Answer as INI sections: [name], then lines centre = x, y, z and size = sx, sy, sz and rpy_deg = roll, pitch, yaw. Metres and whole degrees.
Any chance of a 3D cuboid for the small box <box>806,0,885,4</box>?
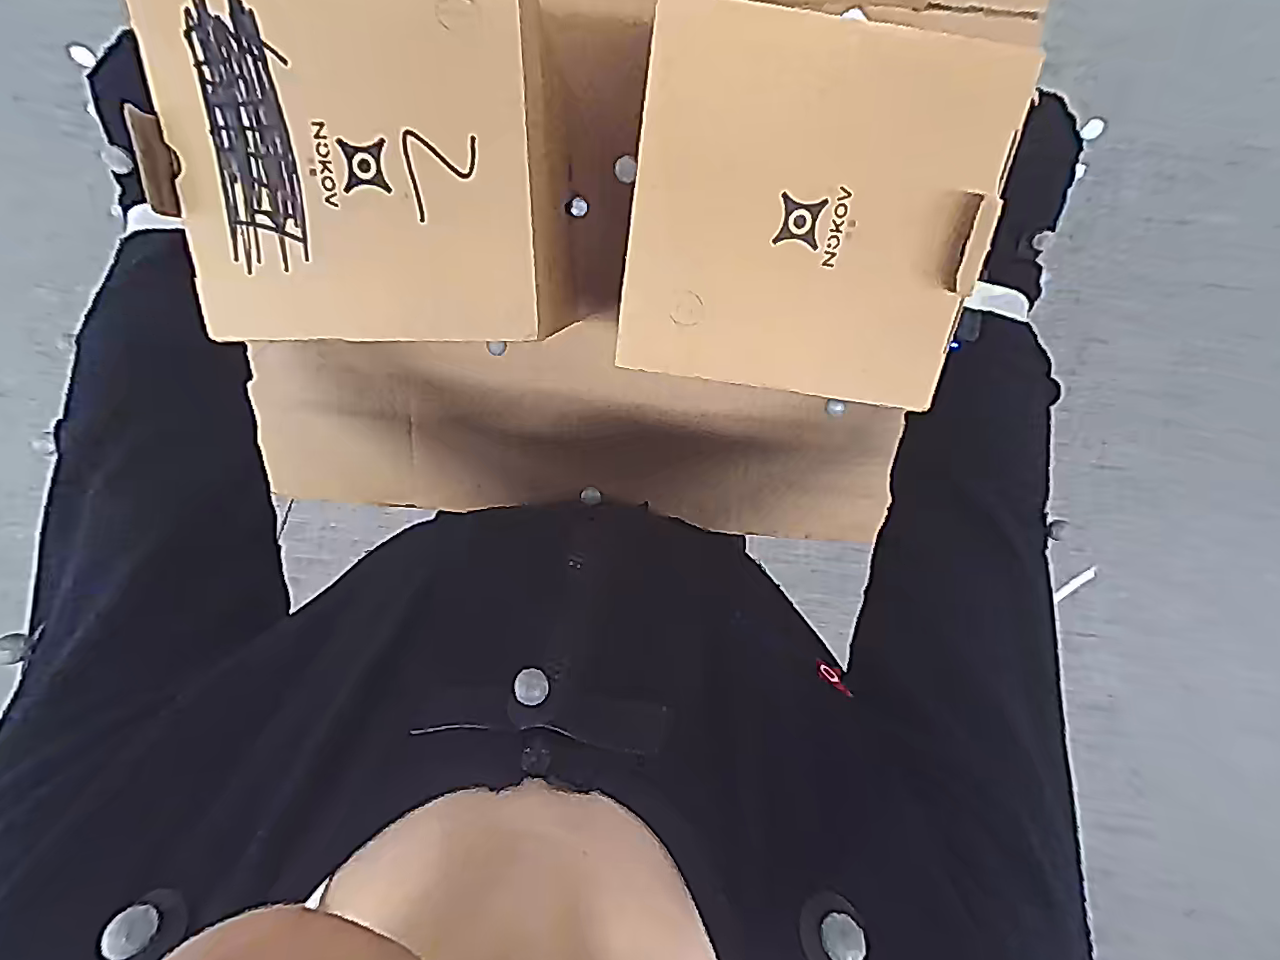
[small box]
centre = 0.109, -0.388, 0.274
size = 0.179, 0.176, 0.168
rpy_deg = 5, 103, 1
